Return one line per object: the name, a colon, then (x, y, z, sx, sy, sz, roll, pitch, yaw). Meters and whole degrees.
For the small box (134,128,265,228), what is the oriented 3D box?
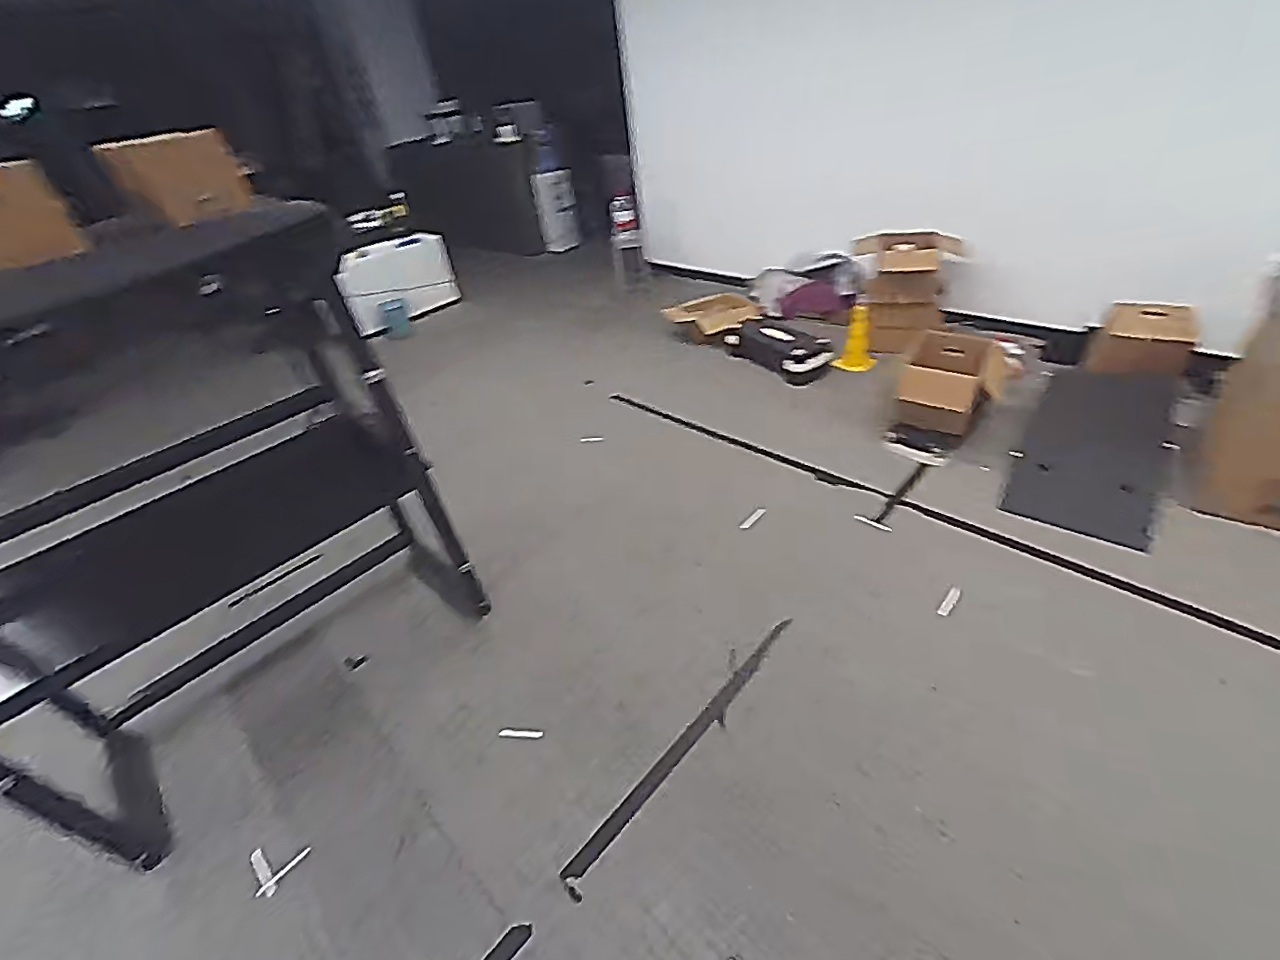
small box: (-0.987, -0.681, 1.219, 0.168, 0.176, 0.179, -31, 43, -25)

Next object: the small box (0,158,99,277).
small box: (-1.219, -0.517, 1.061, 0.168, 0.176, 0.179, 27, 51, 37)
